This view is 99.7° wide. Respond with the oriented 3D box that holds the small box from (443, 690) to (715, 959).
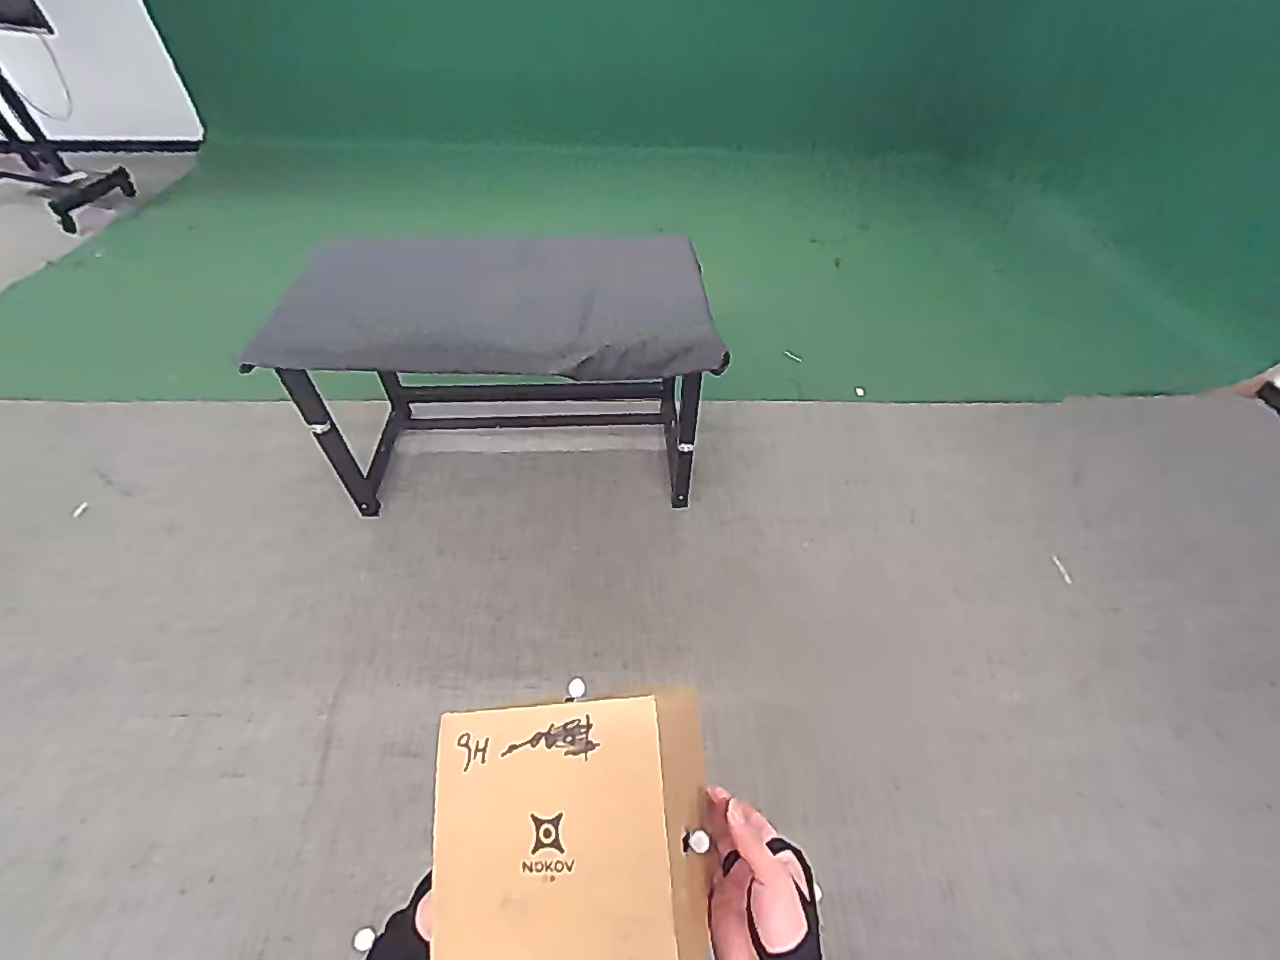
[{"bbox_3d":[-0.037,0.273,0.435,0.168,0.176,0.179,-9,71,11],"label":"small box"}]
